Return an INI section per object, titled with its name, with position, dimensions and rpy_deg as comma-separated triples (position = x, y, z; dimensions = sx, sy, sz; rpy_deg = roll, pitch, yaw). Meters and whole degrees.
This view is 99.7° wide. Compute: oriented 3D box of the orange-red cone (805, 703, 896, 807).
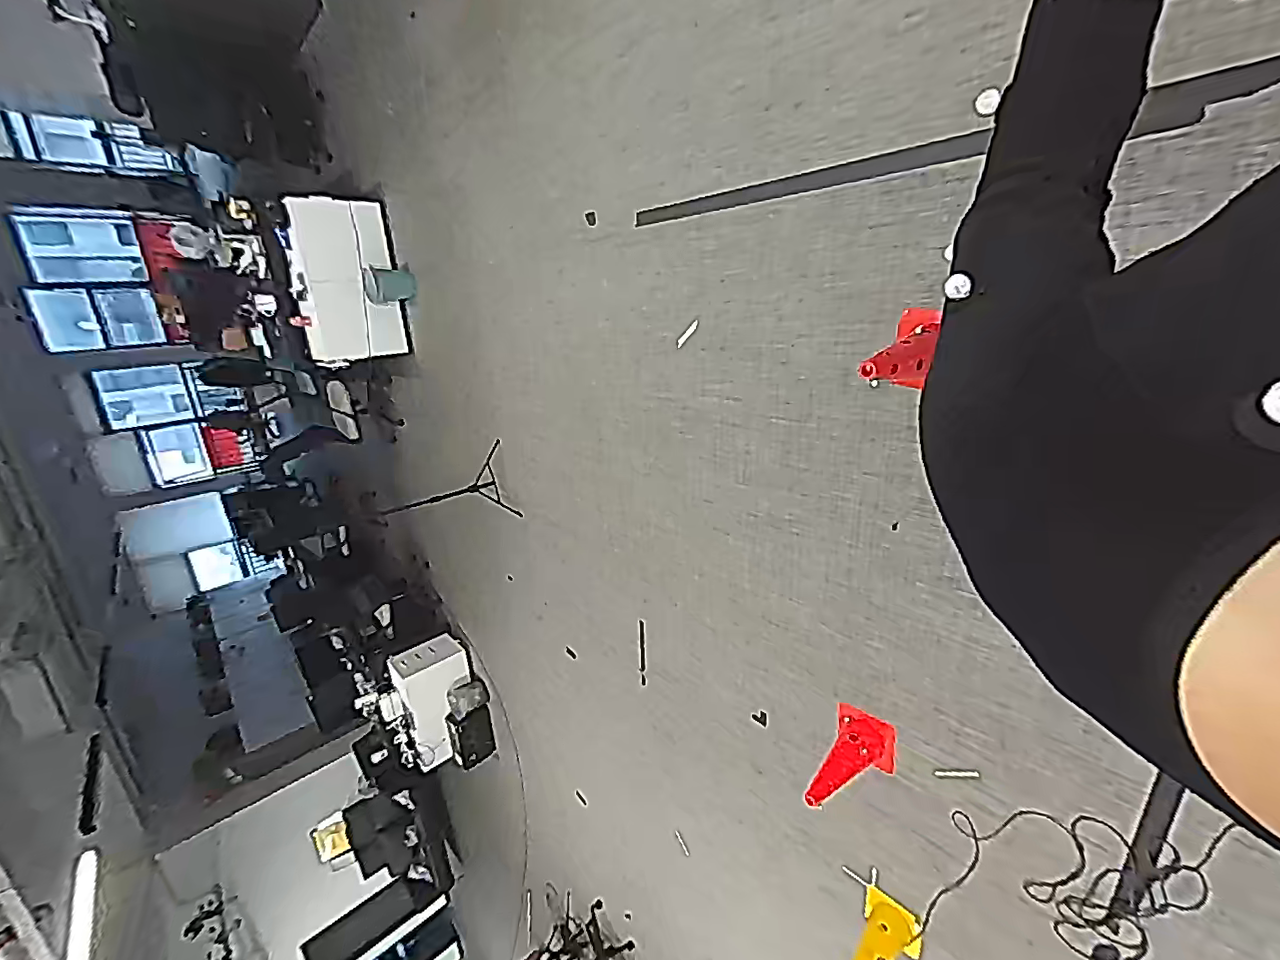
[orange-red cone]
position = 0.646, 0.924, 1.738
dimensions = 0.198, 0.360, 0.199
rpy_deg = 14, 117, 47

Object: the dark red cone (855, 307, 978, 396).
[dark red cone]
position = 0.603, -0.281, 1.251
dimensions = 0.201, 0.394, 0.202
rpy_deg = 23, 122, 42
